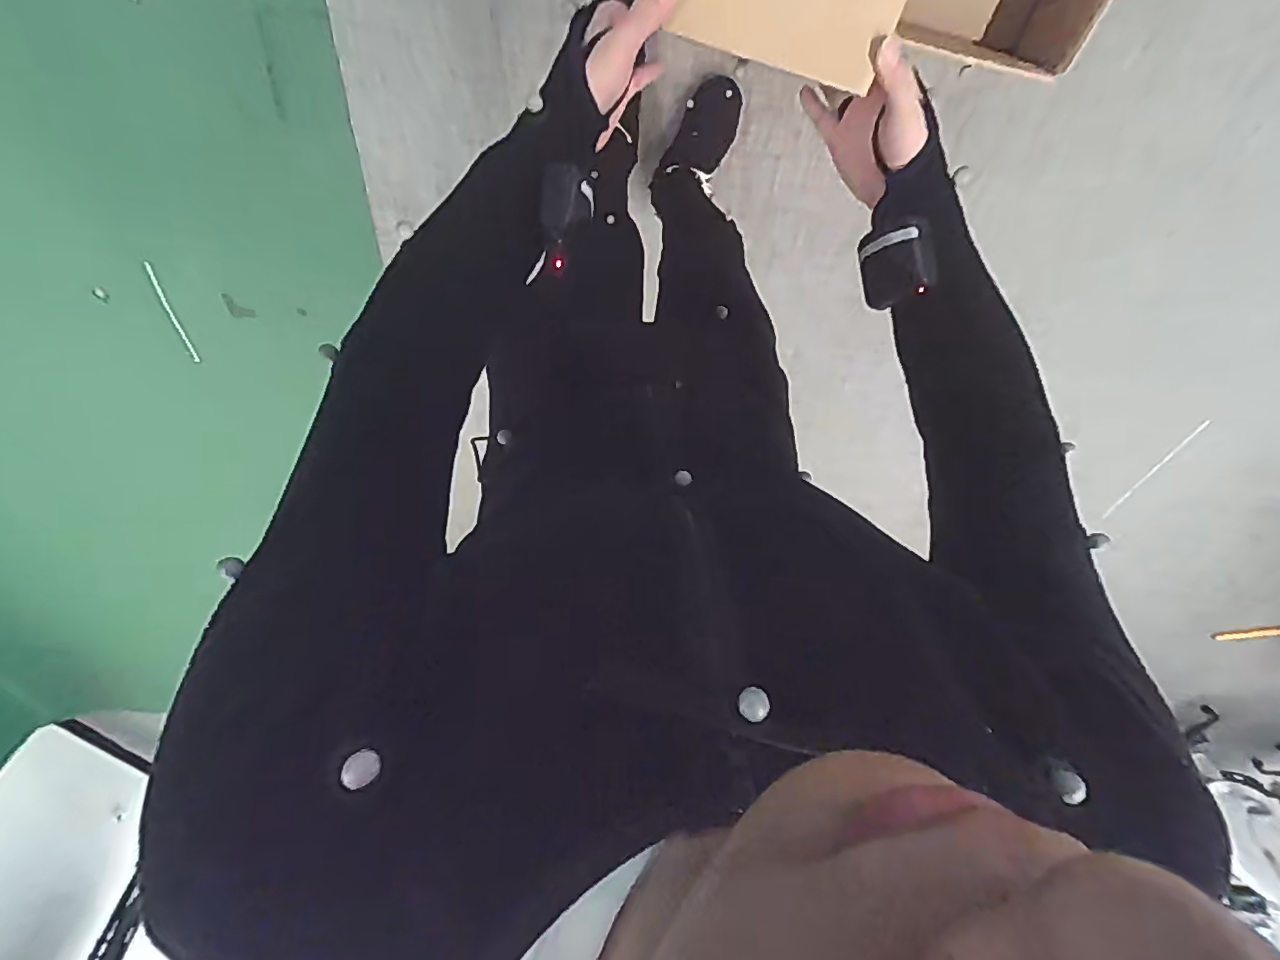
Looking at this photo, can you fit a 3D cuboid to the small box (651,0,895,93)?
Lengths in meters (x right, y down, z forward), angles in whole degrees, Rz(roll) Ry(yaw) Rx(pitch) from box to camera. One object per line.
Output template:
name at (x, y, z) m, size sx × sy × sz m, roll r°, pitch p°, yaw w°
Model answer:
small box at (0.111, -0.429, 0.408) m, size 0.168 × 0.176 × 0.179 m, roll 12°, pitch 130°, yaw -10°
